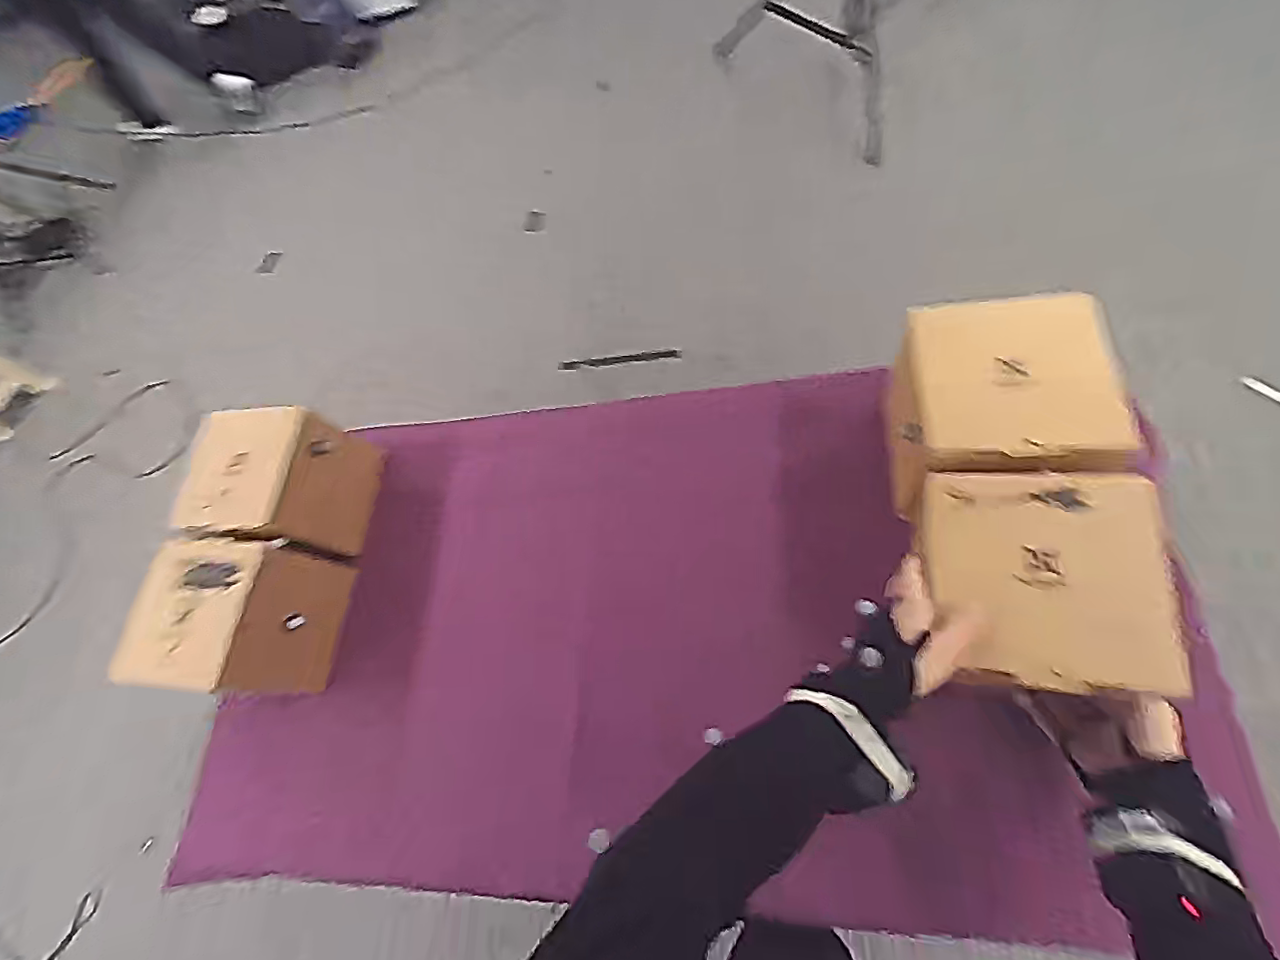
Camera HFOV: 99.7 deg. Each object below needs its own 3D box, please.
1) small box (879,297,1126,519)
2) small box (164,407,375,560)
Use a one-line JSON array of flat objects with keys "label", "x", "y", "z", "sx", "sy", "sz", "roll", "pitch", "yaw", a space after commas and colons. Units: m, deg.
[{"label": "small box", "x": 0.368, "y": -0.069, "z": 0.592, "sx": 0.168, "sy": 0.176, "sz": 0.179, "roll": -1, "pitch": 65, "yaw": 14}, {"label": "small box", "x": -0.523, "y": 0.011, "z": 0.793, "sx": 0.168, "sy": 0.176, "sz": 0.179, "roll": -1, "pitch": 69, "yaw": 14}]
